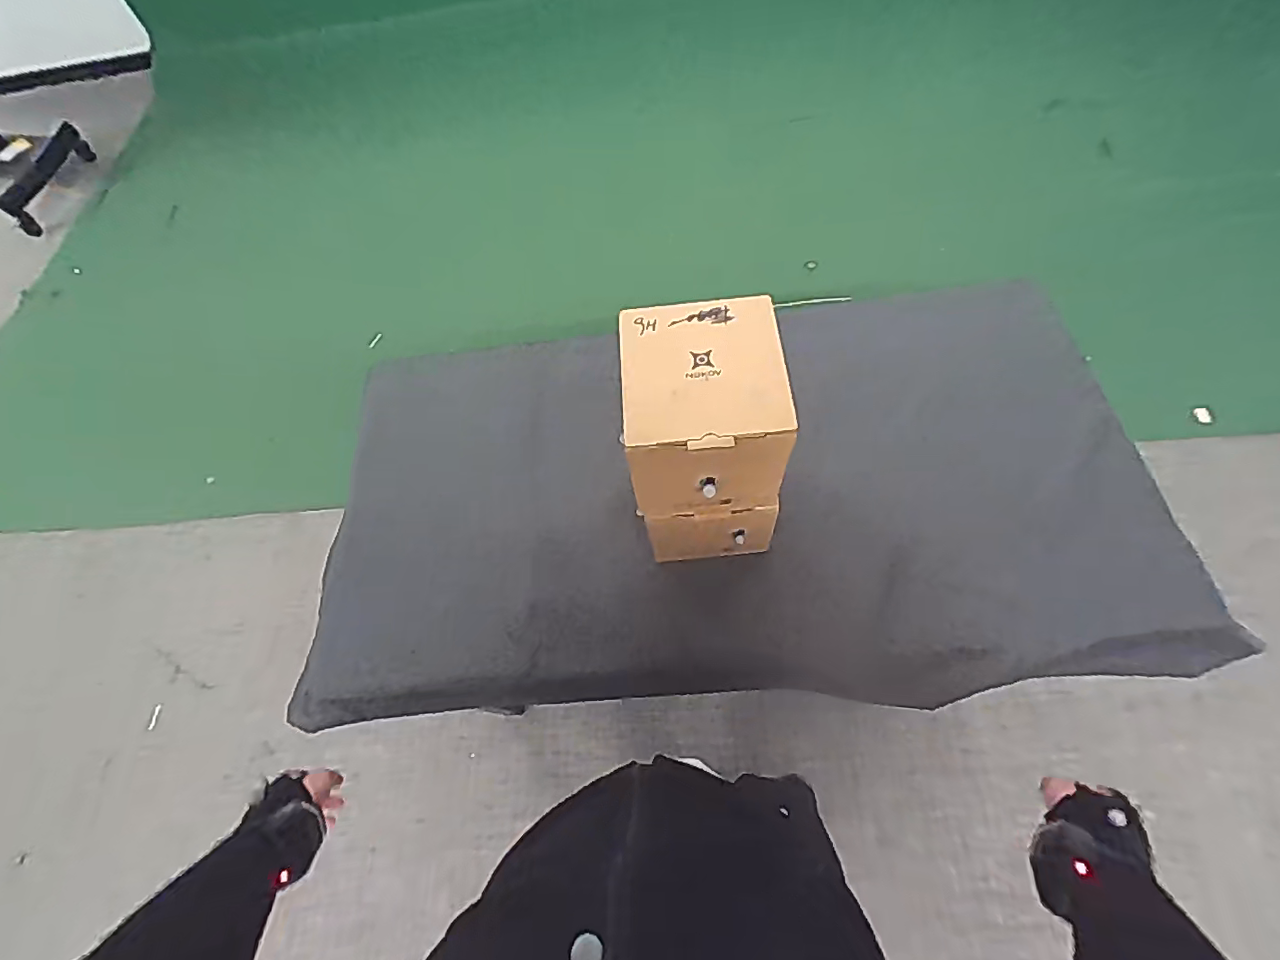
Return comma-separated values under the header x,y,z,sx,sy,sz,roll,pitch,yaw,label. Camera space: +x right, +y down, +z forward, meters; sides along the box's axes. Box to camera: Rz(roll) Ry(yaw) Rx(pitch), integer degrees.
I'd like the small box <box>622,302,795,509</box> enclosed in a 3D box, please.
x,y,z,sx,sy,sz,roll,pitch,yaw,label
0.071,-0.073,0.620,0.168,0.176,0.179,-4,64,3,small box

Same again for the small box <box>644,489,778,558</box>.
x,y,z,sx,sy,sz,roll,pitch,yaw,label
0.091,0.004,0.763,0.168,0.176,0.179,-6,62,3,small box
